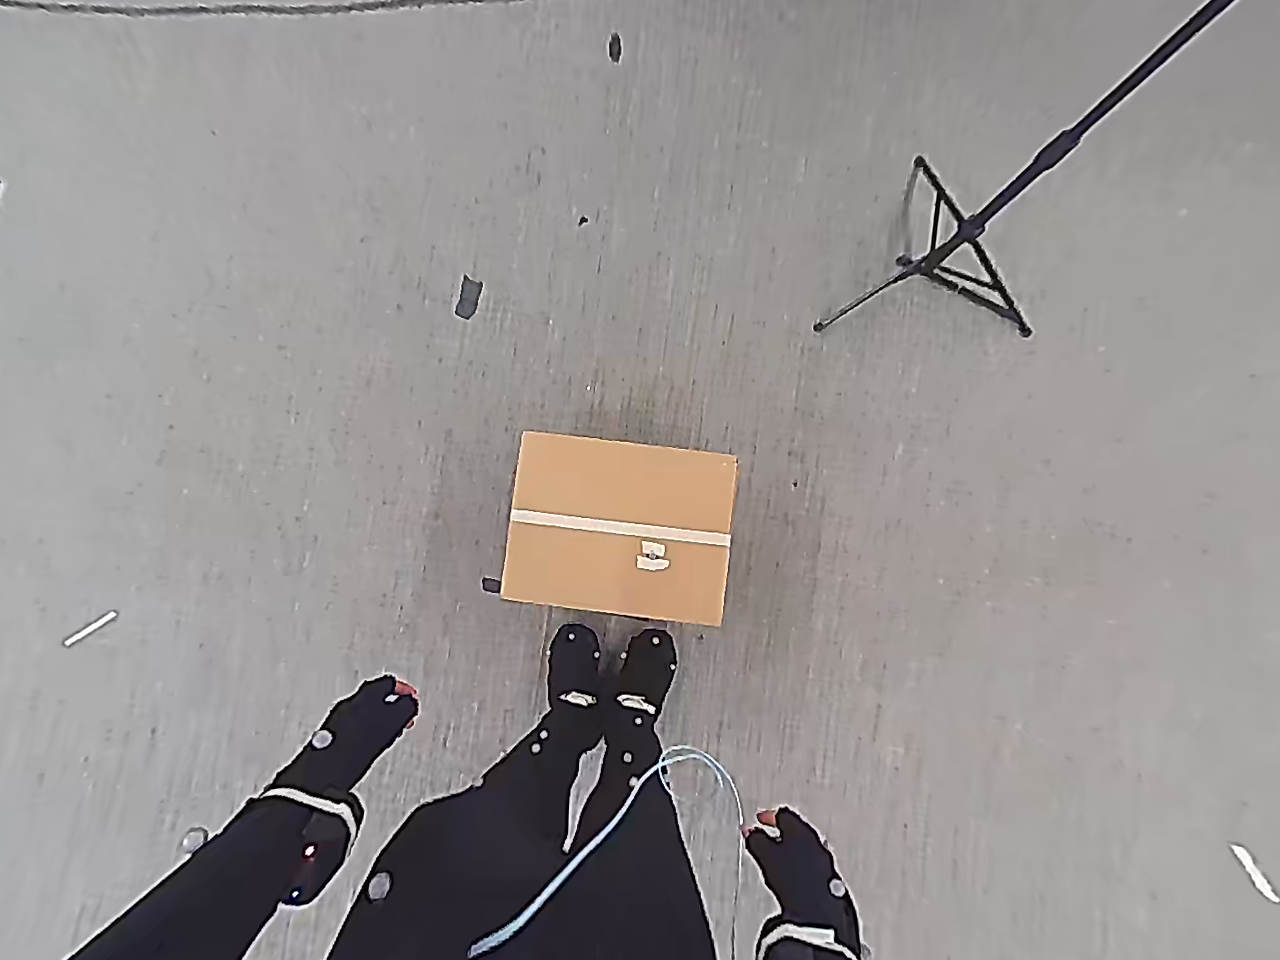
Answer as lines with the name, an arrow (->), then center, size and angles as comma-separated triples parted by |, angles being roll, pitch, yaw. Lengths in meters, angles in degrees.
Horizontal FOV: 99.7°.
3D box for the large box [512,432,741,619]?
large box -> -0.024, 0.094, 1.143 | 0.408, 0.320, 0.320 | 7, 86, 1
